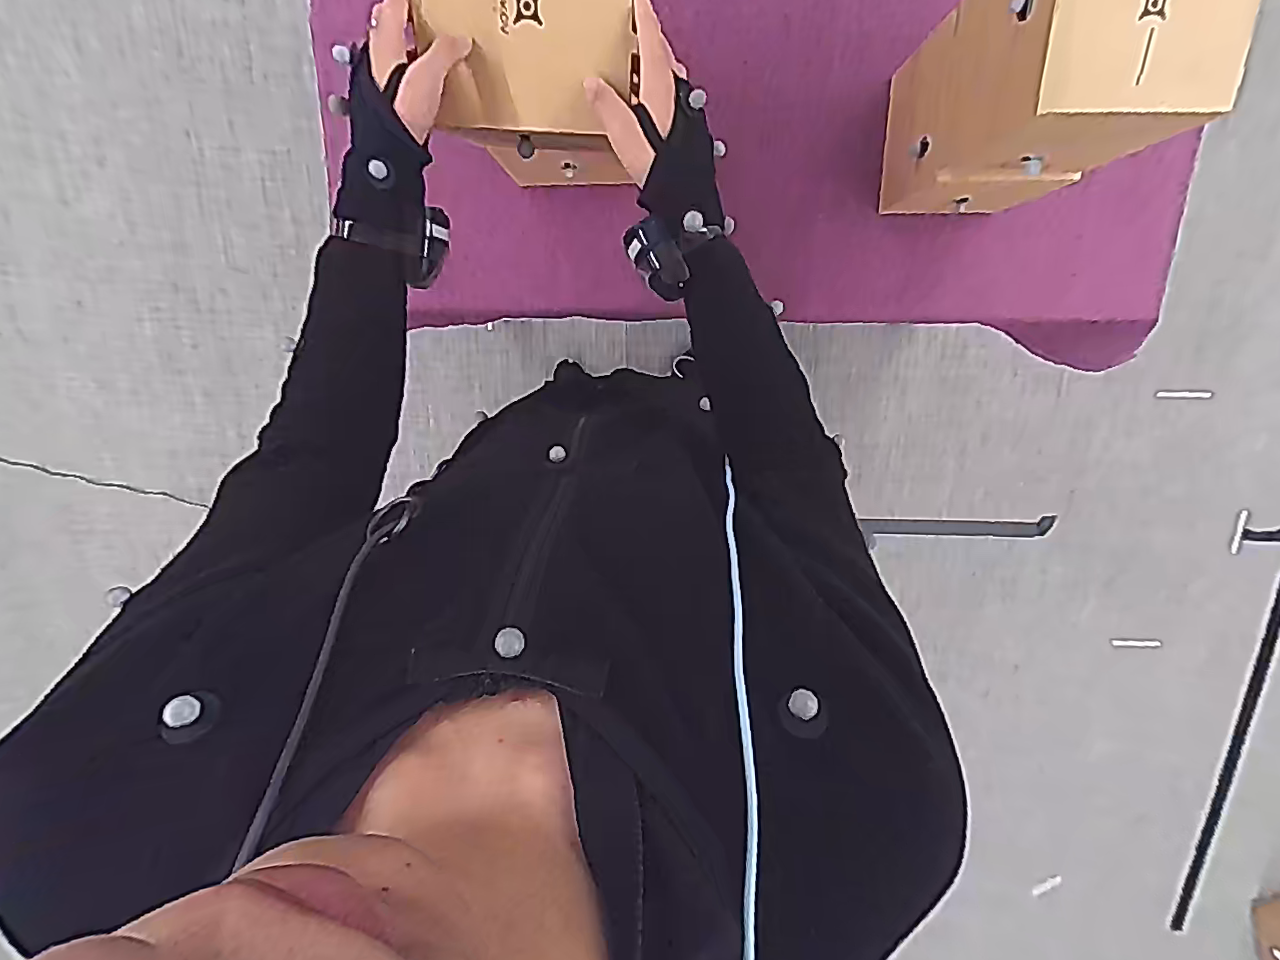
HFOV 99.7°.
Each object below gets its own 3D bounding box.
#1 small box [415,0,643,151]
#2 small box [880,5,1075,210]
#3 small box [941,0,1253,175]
[{"bbox_3d":[-0.087,-0.404,0.492,0.179,0.176,0.168,3,117,0],"label":"small box"},{"bbox_3d":[0.424,-0.450,0.683,0.168,0.176,0.179,1,105,1],"label":"small box"},{"bbox_3d":[0.422,-0.417,0.522,0.168,0.176,0.179,1,105,1],"label":"small box"}]
